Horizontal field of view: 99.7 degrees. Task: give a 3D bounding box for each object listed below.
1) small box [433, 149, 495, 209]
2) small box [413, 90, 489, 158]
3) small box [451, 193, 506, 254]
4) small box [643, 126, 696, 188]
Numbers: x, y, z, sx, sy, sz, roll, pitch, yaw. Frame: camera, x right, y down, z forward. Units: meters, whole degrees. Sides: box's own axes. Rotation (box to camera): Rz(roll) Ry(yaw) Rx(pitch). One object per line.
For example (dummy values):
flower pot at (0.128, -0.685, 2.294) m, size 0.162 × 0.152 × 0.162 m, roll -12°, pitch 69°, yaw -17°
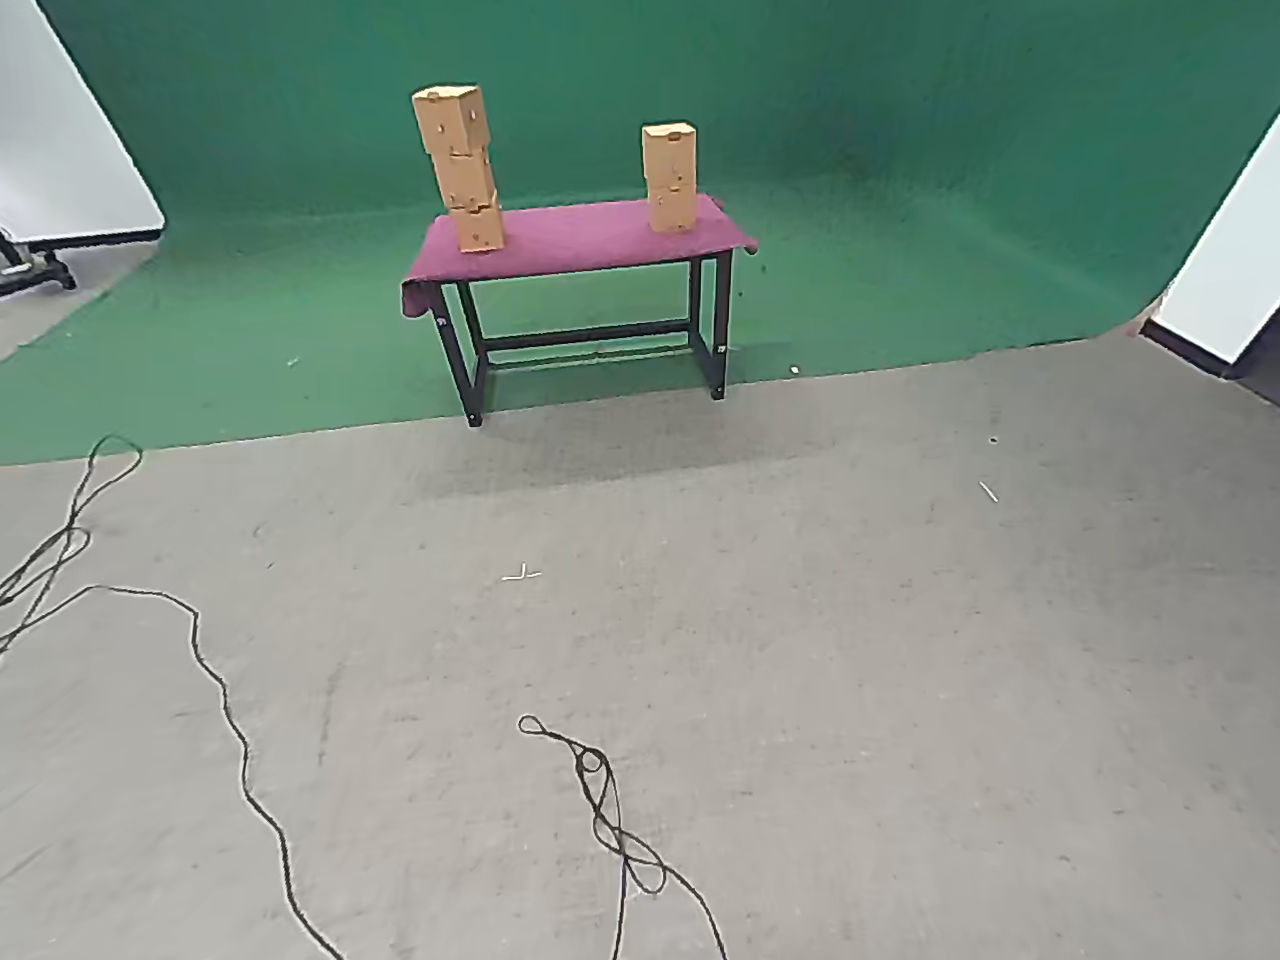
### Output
small box at (-0.631, -1.097, 1.963) m, size 0.168 × 0.176 × 0.179 m, roll -5°, pitch 43°, yaw -2°
small box at (-0.638, -1.218, 1.852) m, size 0.168 × 0.176 × 0.179 m, roll 8°, pitch 46°, yaw 10°
small box at (-0.618, -0.990, 2.088) m, size 0.168 × 0.176 × 0.179 m, roll -8°, pitch 44°, yaw -5°
small box at (0.109, -1.207, 2.020) m, size 0.168 × 0.176 × 0.179 m, roll -10°, pitch 43°, yaw -5°
